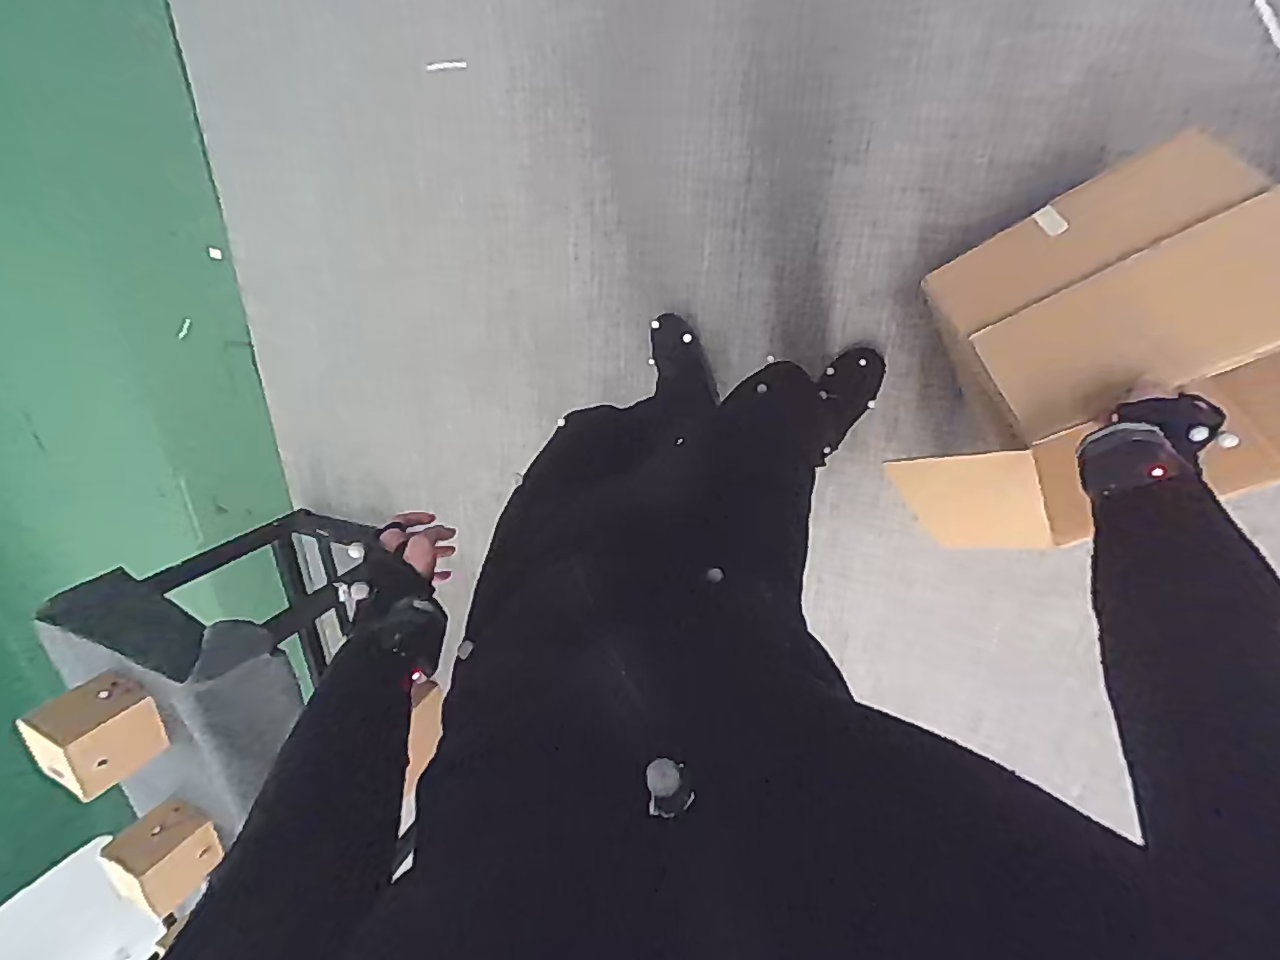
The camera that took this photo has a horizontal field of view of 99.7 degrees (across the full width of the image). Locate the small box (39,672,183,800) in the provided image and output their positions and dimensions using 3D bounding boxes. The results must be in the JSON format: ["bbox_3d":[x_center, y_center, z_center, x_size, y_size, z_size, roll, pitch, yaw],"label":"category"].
[{"bbox_3d":[-1.223,0.592,1.266,0.168,0.176,0.179,16,116,18],"label":"small box"}]

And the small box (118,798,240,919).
[{"bbox_3d":[-1.210,0.991,1.431,0.168,0.176,0.179,12,115,20],"label":"small box"}]
